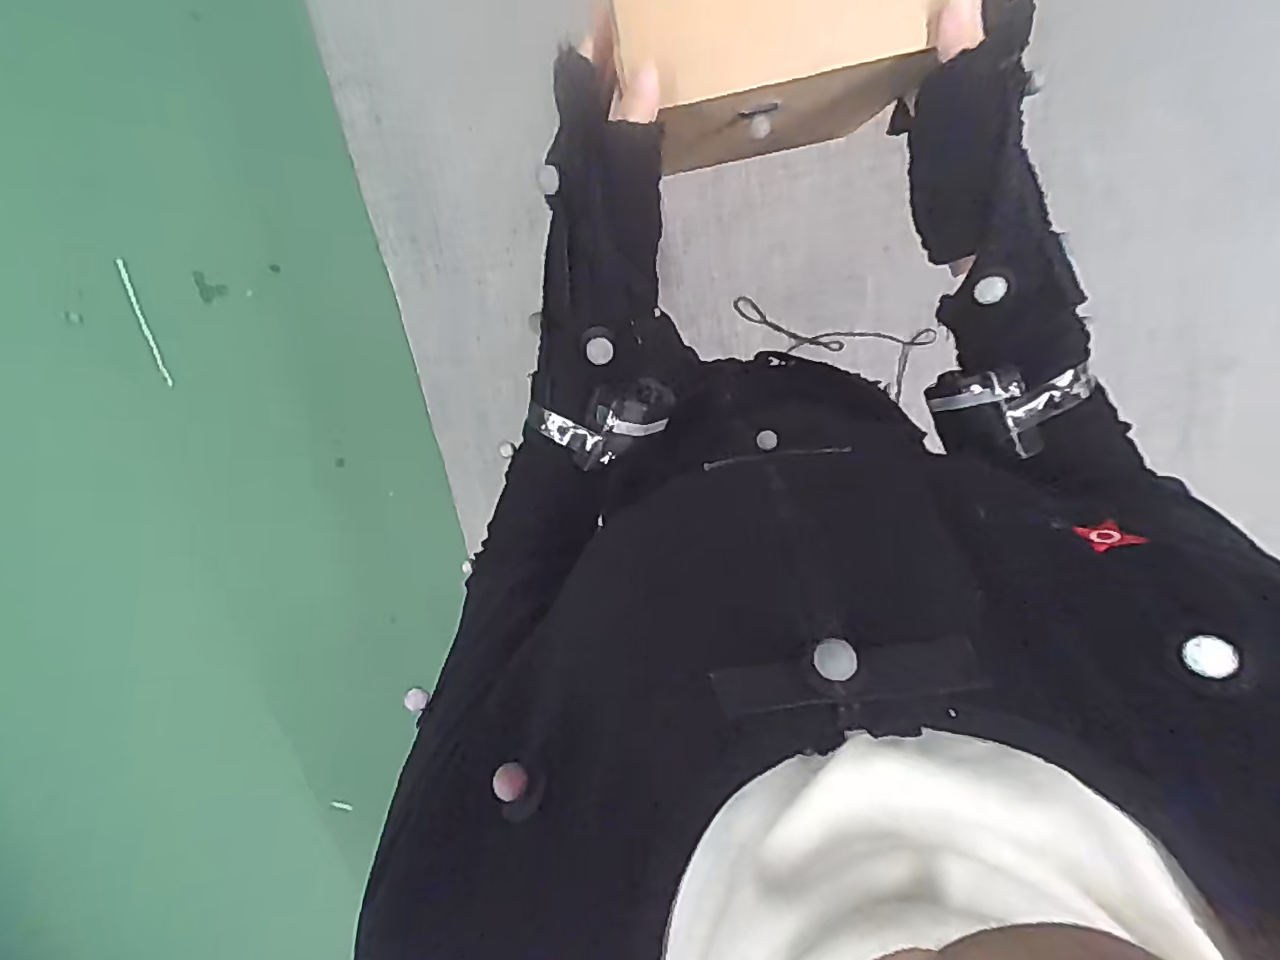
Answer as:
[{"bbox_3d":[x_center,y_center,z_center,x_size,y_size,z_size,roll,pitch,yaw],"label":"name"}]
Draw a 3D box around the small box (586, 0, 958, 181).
[{"bbox_3d":[0.057,-0.296,0.321,0.179,0.176,0.168,-10,108,4],"label":"small box"}]
